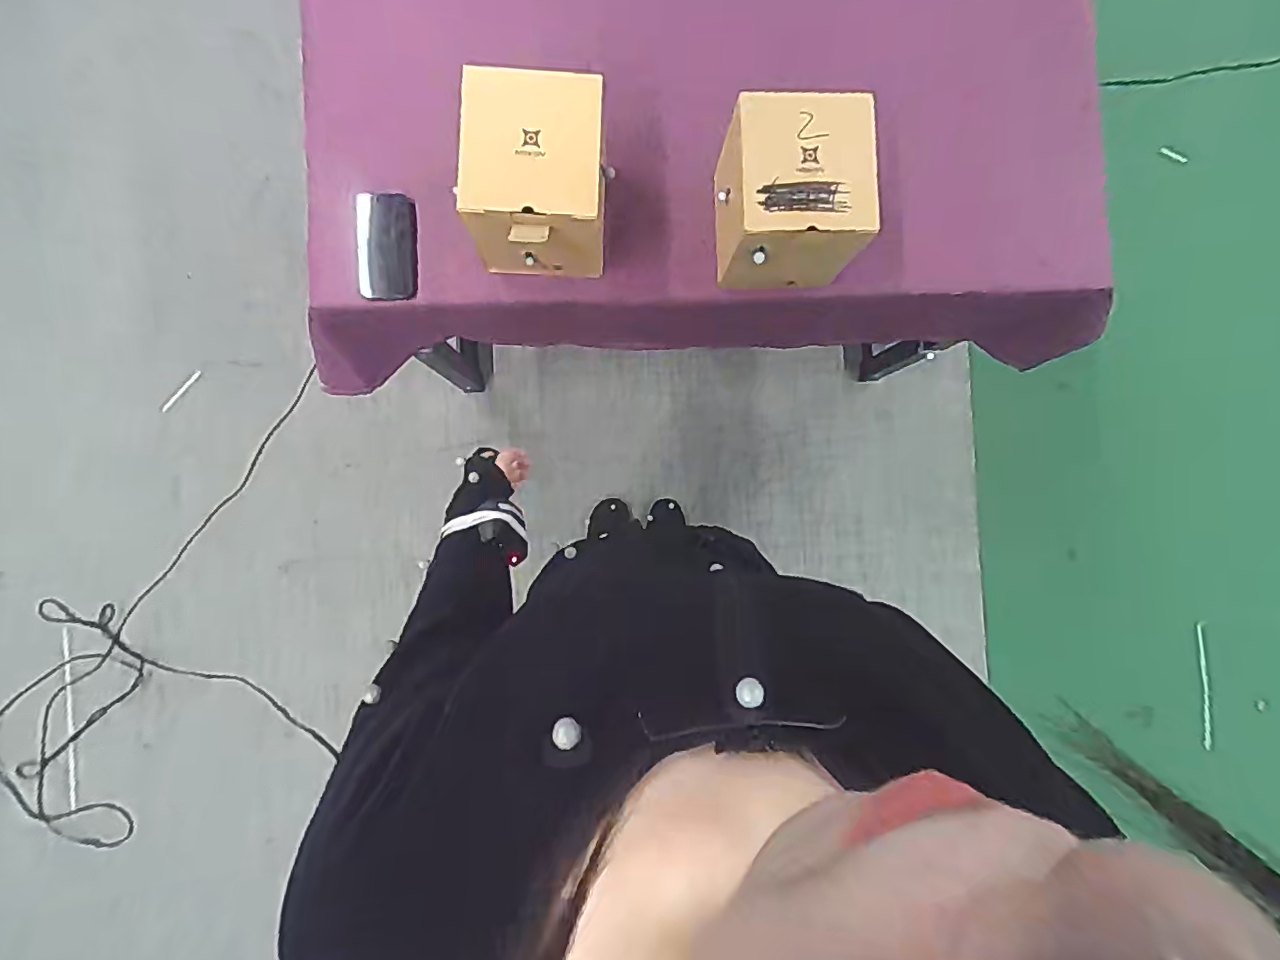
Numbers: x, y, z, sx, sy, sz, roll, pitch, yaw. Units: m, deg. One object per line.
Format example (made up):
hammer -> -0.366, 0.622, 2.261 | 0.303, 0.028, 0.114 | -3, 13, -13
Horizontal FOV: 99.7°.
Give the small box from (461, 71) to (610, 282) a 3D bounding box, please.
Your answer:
small box -> -0.128, -0.386, 0.714 | 0.168, 0.176, 0.179 | 3, 88, -4
